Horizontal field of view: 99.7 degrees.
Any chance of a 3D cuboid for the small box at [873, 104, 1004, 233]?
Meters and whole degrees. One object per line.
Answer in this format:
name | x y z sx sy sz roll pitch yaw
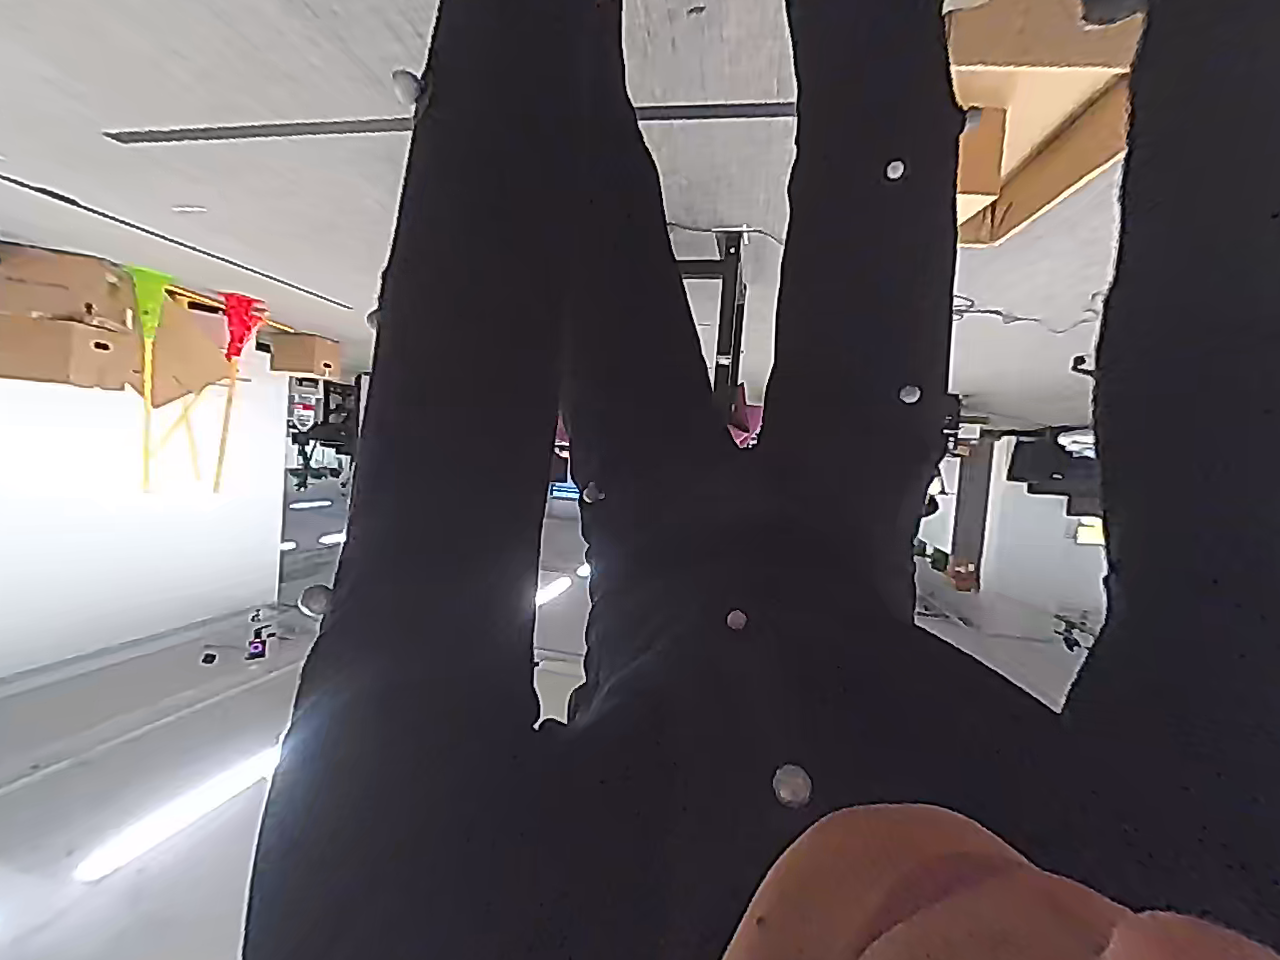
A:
small box | 0.607 -0.636 1.113 0.179 0.176 0.168 5 -178 -2
